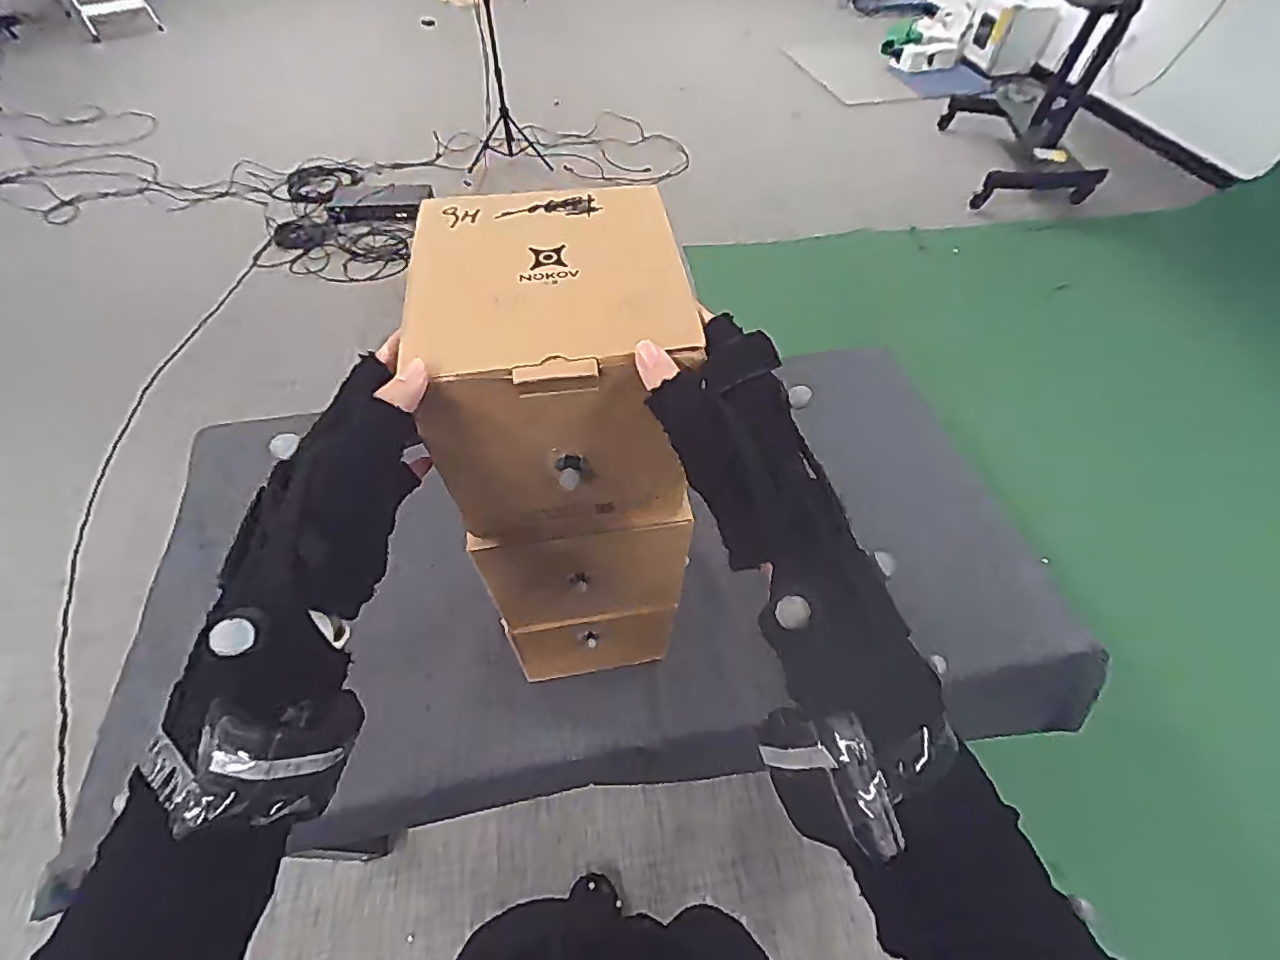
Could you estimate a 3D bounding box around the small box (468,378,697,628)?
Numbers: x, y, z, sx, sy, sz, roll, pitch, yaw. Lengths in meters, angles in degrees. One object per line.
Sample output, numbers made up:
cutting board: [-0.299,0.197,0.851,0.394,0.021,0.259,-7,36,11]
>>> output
small box: [-0.058,0.027,0.524,0.179,0.176,0.168,-9,56,-9]

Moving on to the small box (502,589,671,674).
small box: [-0.066,0.123,0.657,0.179,0.176,0.168,-7,56,-8]
